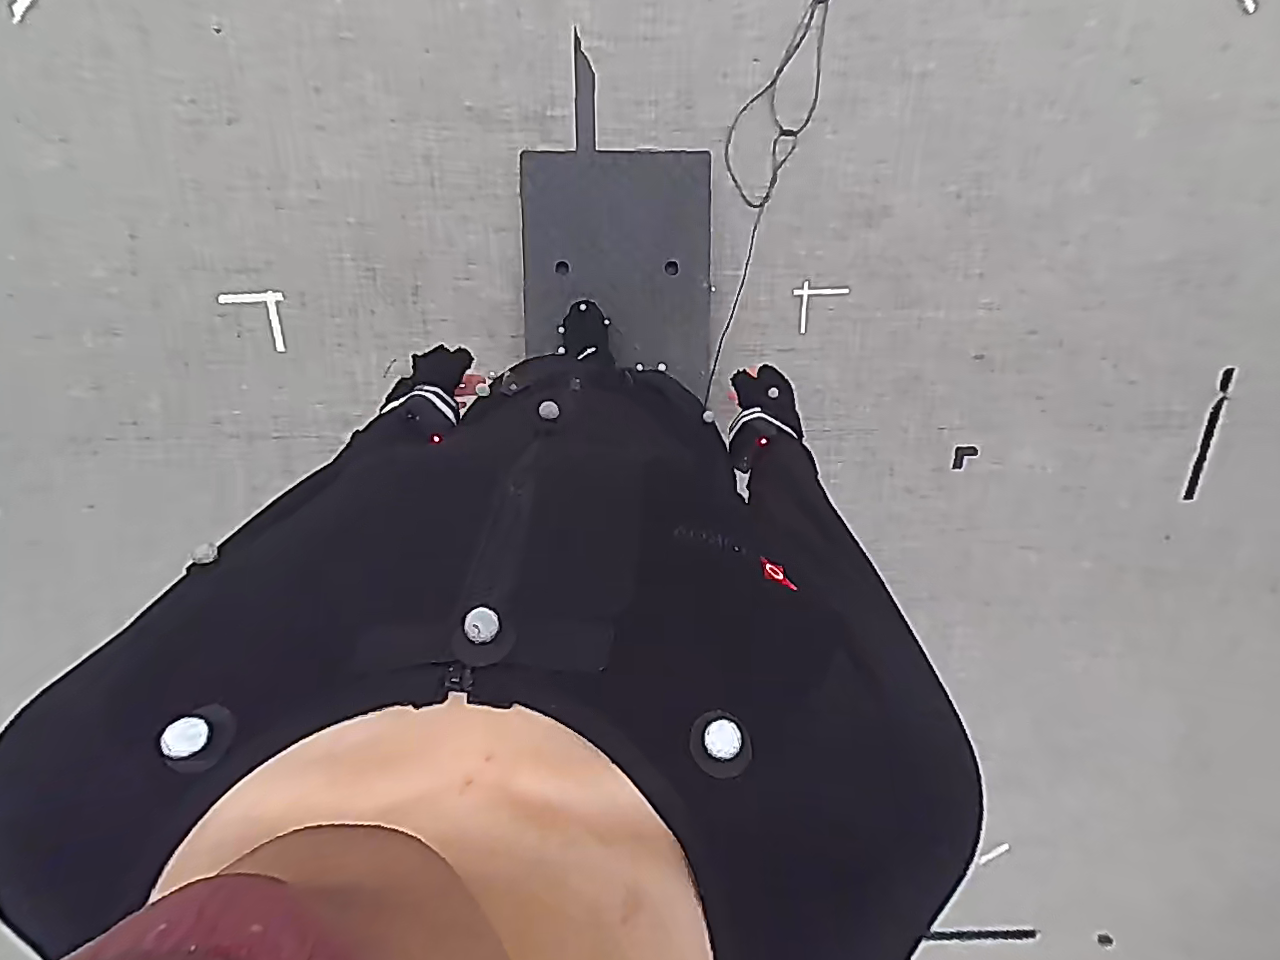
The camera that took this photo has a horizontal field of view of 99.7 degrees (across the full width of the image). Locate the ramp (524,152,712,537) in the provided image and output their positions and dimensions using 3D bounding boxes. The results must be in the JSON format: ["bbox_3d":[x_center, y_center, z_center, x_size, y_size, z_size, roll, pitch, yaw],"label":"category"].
[{"bbox_3d":[-0.053,-0.343,1.435,0.509,0.206,0.991,-2,105,1],"label":"ramp"}]
